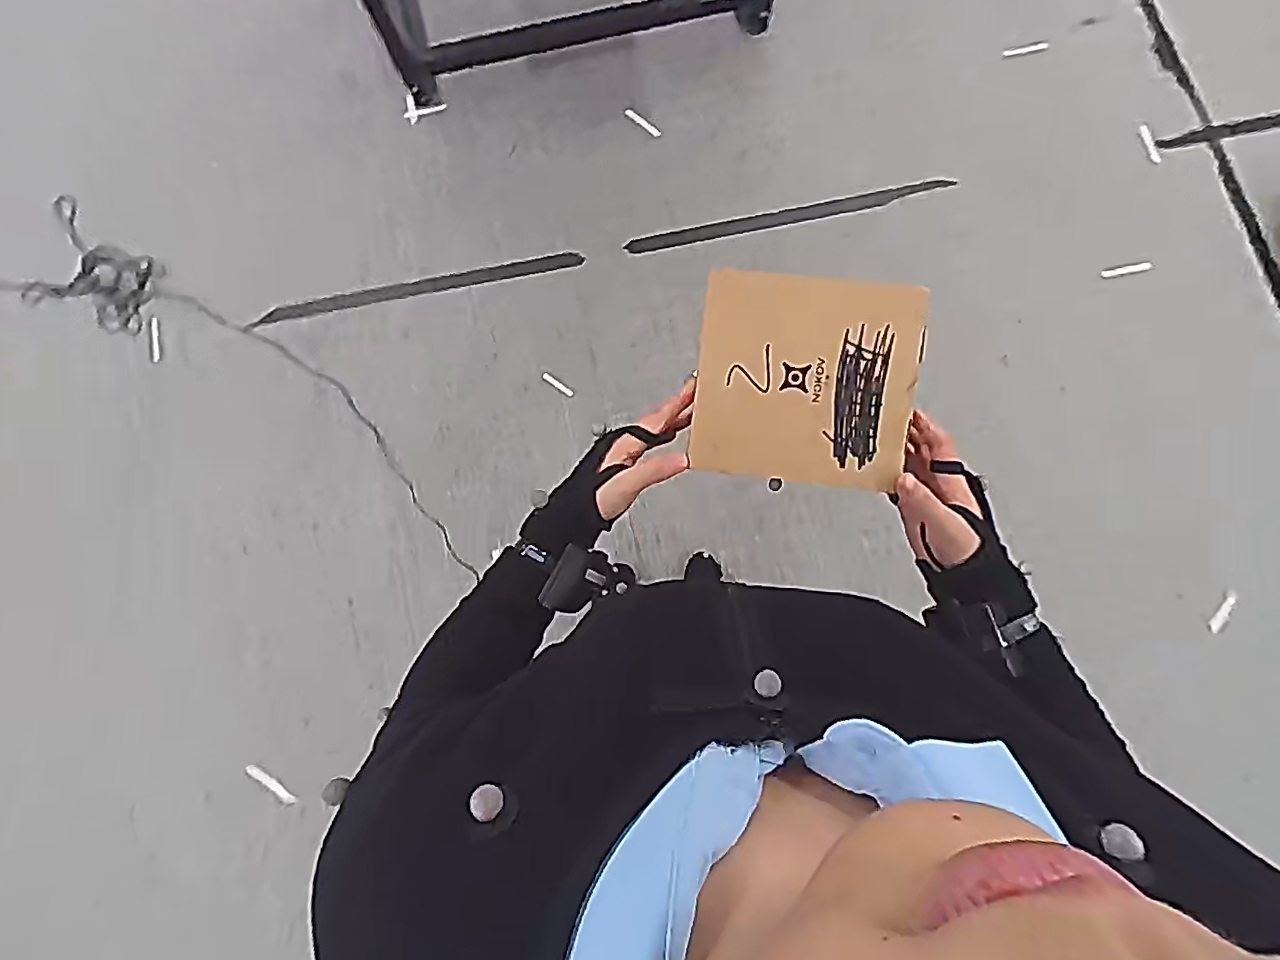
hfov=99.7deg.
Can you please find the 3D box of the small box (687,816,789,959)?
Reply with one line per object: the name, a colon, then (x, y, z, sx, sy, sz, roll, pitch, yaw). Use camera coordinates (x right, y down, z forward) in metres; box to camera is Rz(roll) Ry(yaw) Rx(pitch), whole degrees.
small box: (0.201, 0.860, 1.154, 0.168, 0.176, 0.179, -12, 80, -2)
